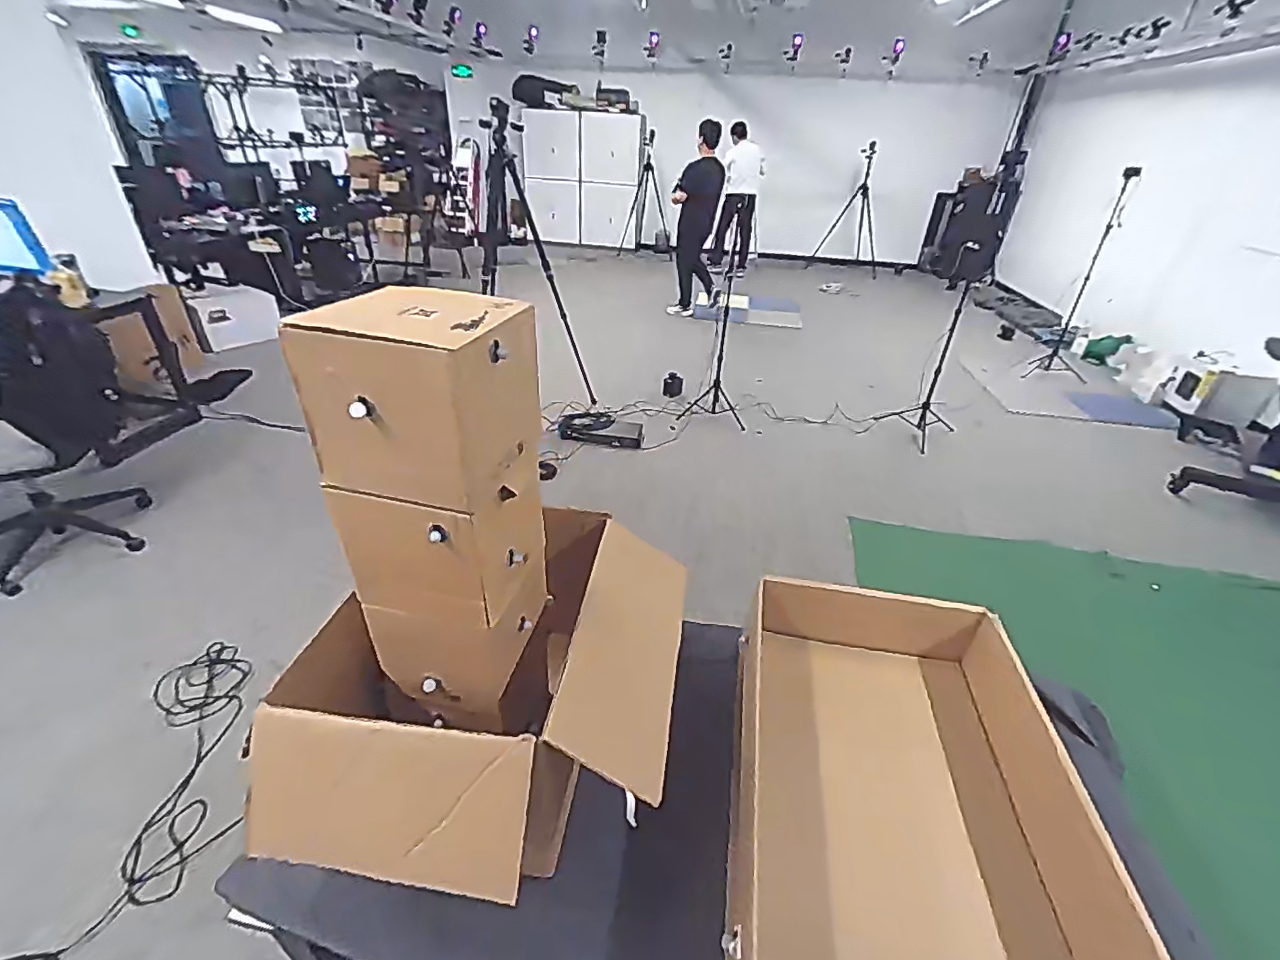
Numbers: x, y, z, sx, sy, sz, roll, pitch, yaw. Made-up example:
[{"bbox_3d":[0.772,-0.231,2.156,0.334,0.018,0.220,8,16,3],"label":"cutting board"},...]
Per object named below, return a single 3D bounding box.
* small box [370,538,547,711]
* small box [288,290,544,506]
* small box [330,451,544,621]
[{"bbox_3d":[-0.235,0.181,0.748,0.168,0.176,0.179,9,35,9],"label":"small box"},{"bbox_3d":[-0.214,-0.090,0.569,0.179,0.176,0.168,10,34,10],"label":"small box"},{"bbox_3d":[-0.229,0.047,0.658,0.179,0.176,0.168,10,33,9],"label":"small box"}]
